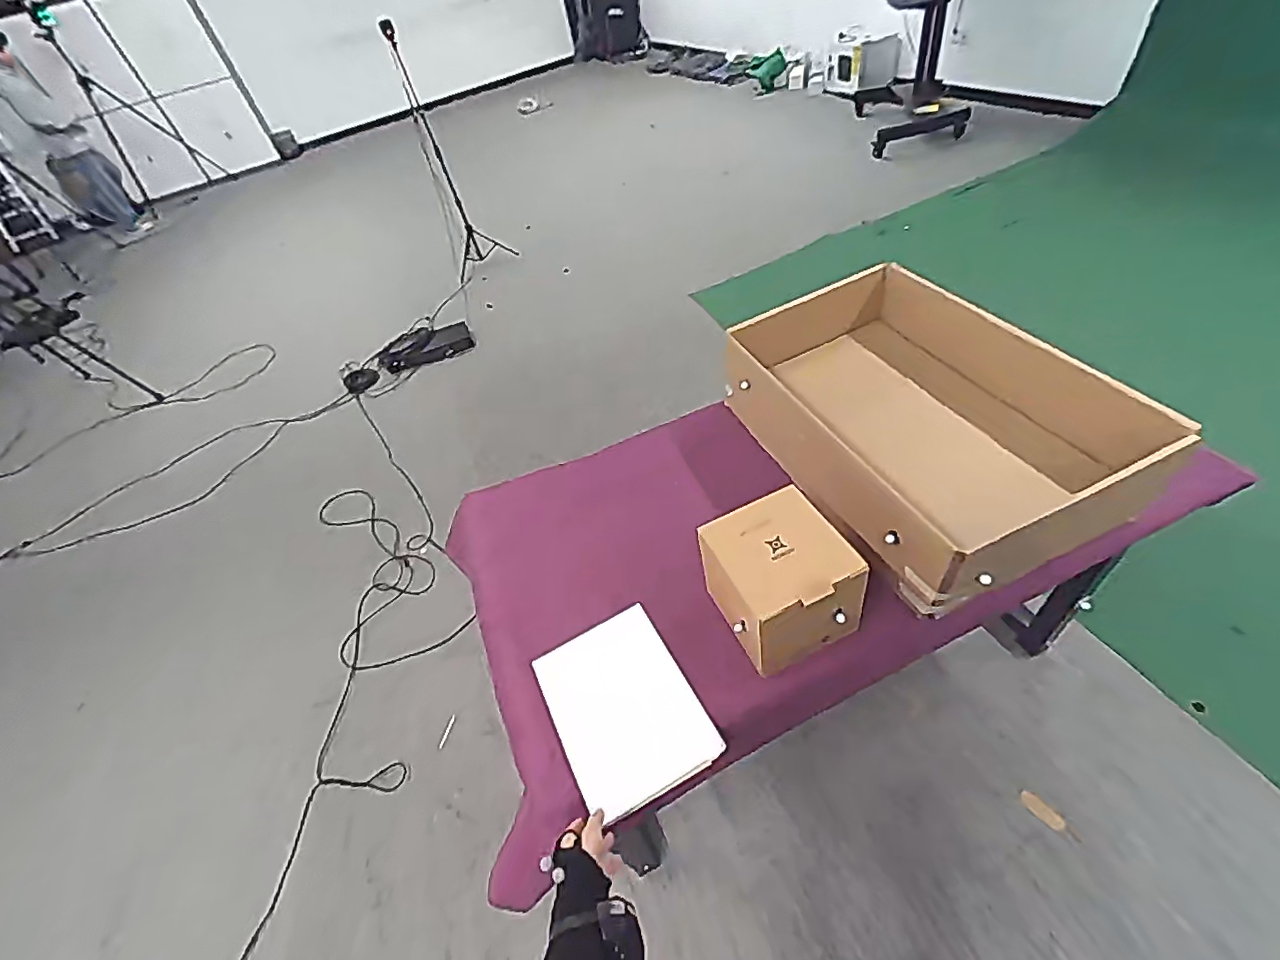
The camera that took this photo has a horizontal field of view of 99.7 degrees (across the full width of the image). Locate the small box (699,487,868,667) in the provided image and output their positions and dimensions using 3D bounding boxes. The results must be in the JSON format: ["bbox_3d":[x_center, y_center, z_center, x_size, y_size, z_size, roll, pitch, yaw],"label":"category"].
[{"bbox_3d":[0.205,0.148,0.793,0.168,0.176,0.179,-23,45,-8],"label":"small box"}]
